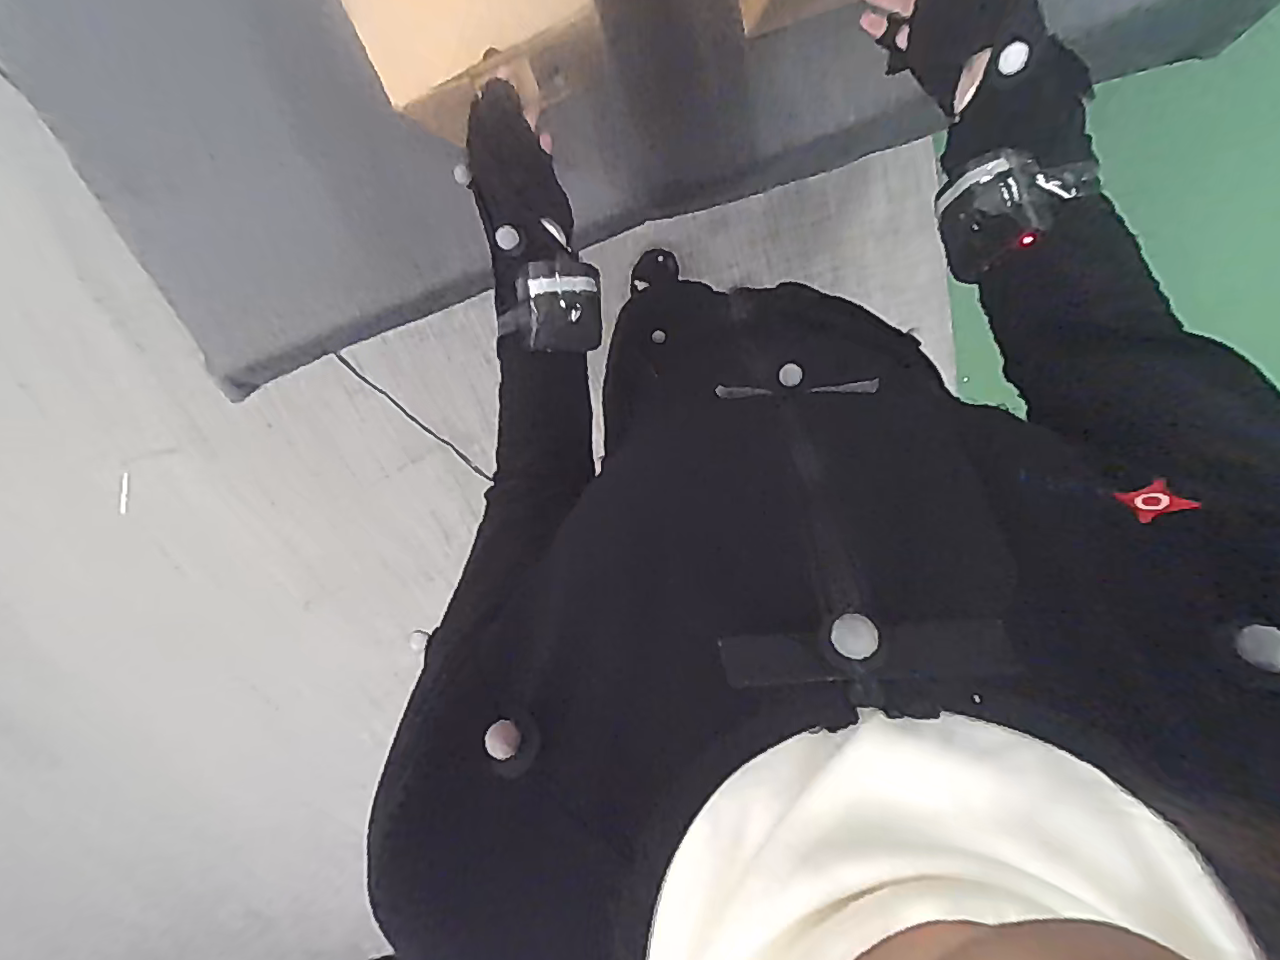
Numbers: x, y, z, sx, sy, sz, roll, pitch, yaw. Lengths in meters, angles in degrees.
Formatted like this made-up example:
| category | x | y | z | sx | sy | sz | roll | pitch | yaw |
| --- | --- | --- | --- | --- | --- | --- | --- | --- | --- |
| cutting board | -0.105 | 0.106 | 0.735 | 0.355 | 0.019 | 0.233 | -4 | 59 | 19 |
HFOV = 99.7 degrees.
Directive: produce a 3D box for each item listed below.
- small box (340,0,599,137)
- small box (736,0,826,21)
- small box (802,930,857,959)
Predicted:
| category | x | y | z | sx | sy | sz | roll | pitch | yaw |
| --- | --- | --- | --- | --- | --- | --- | --- | --- | --- |
| small box | -0.141 | -0.409 | 0.441 | 0.168 | 0.176 | 0.179 | -21 | 111 | 8 |
| small box | 0.151 | -0.487 | 0.404 | 0.168 | 0.176 | 0.179 | -16 | 114 | 6 |
| small box | 0.678 | 1.725 | 1.887 | 0.179 | 0.176 | 0.168 | -18 | 108 | 9 |
